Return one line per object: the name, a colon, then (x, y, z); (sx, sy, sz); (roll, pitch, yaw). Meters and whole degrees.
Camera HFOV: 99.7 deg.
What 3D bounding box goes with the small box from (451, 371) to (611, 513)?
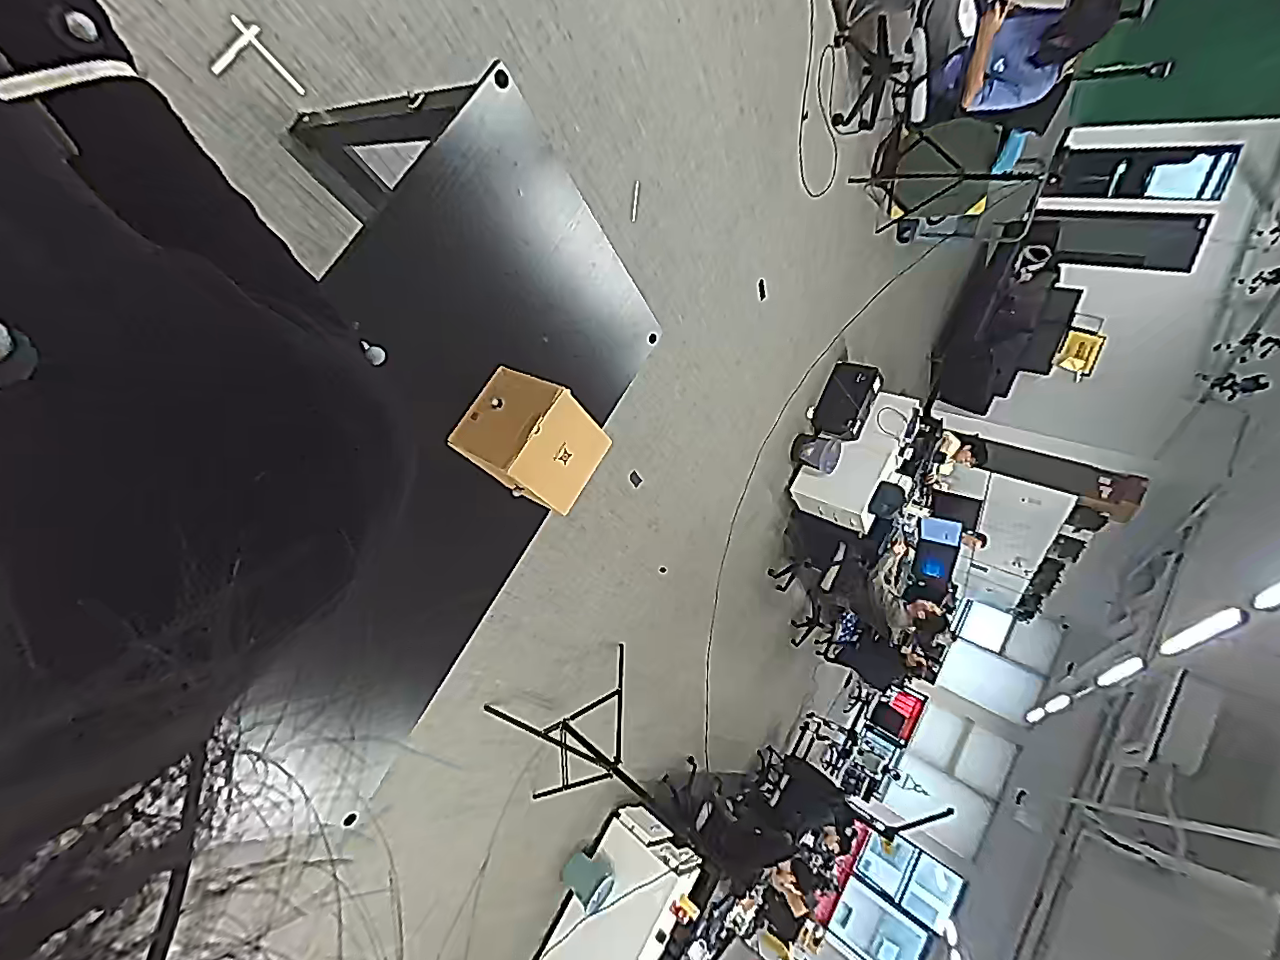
small box: (-0.189, -0.070, 0.951); (0.168, 0.176, 0.179); (-59, 144, -12)
